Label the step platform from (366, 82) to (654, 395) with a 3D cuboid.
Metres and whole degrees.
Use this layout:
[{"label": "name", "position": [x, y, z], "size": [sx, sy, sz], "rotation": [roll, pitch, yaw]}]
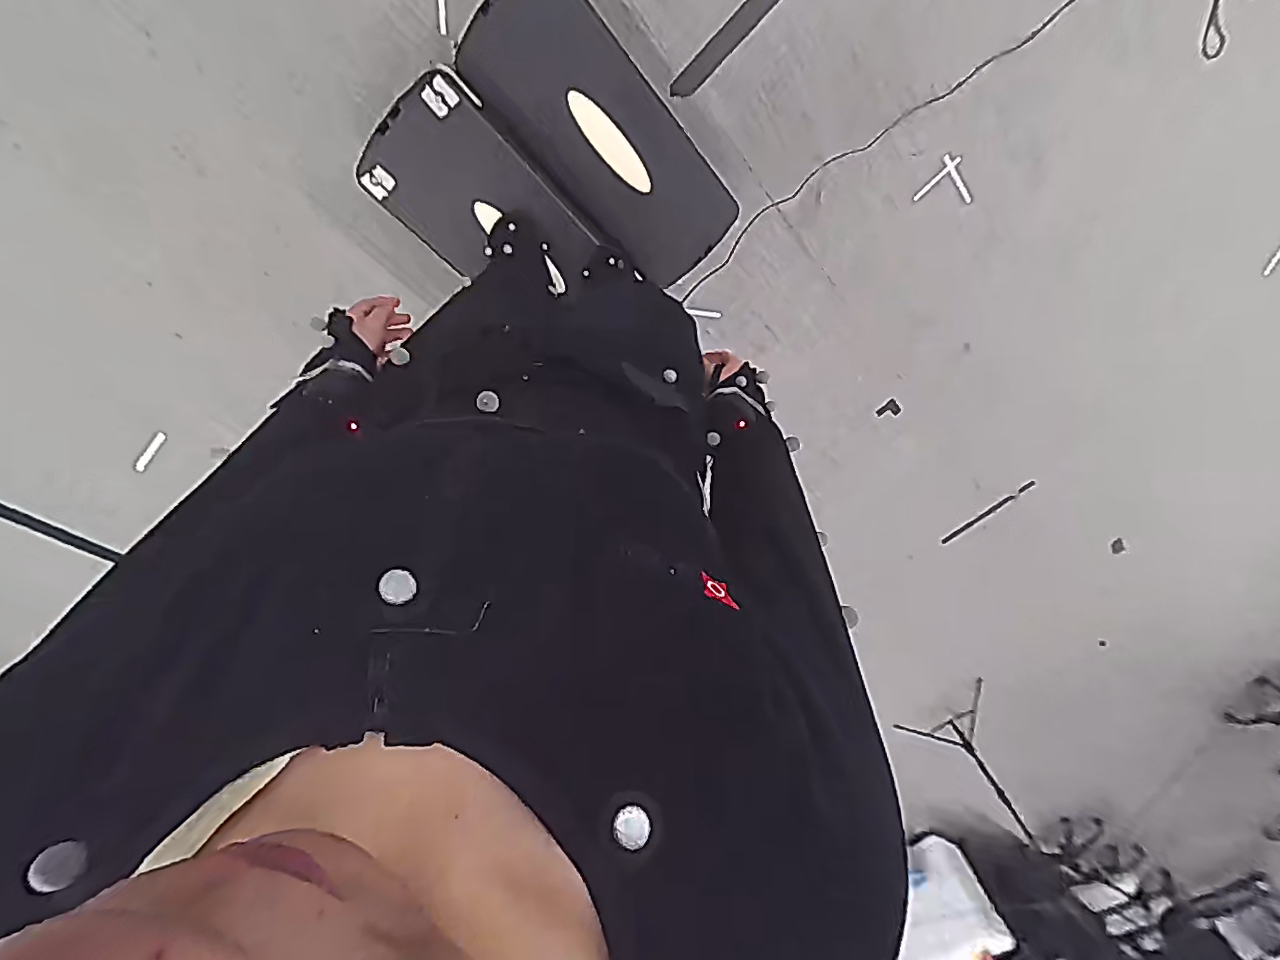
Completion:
[{"label": "step platform", "position": [-0.268, -0.522, 1.264], "size": [0.286, 0.204, 0.684], "rotation": [-38, 119, 13]}]
